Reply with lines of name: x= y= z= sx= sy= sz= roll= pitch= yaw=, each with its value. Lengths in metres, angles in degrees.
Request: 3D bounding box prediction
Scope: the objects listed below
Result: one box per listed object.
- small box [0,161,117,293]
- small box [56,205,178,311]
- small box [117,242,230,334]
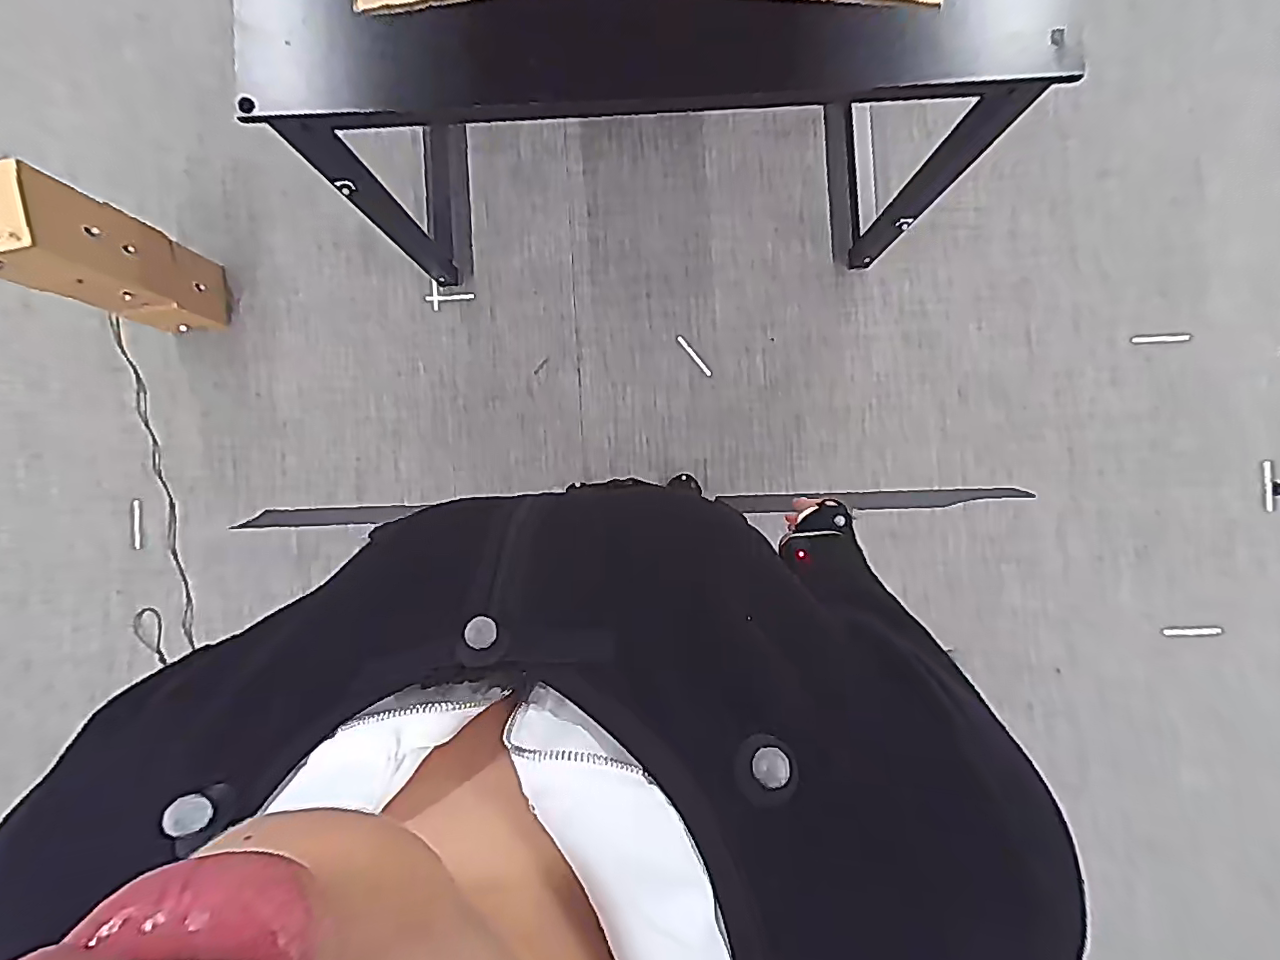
small box: x=-1.244 y=-0.511 z=1.113 sx=0.168 sy=0.176 sz=0.179 roll=-11 pitch=88 yaw=0
small box: x=-1.243 y=-0.513 z=1.278 sx=0.168 sy=0.176 sz=0.179 roll=-9 pitch=88 yaw=0
small box: x=-1.238 y=-0.505 z=1.439 sx=0.168 sy=0.176 sz=0.179 roll=-6 pitch=90 yaw=1
